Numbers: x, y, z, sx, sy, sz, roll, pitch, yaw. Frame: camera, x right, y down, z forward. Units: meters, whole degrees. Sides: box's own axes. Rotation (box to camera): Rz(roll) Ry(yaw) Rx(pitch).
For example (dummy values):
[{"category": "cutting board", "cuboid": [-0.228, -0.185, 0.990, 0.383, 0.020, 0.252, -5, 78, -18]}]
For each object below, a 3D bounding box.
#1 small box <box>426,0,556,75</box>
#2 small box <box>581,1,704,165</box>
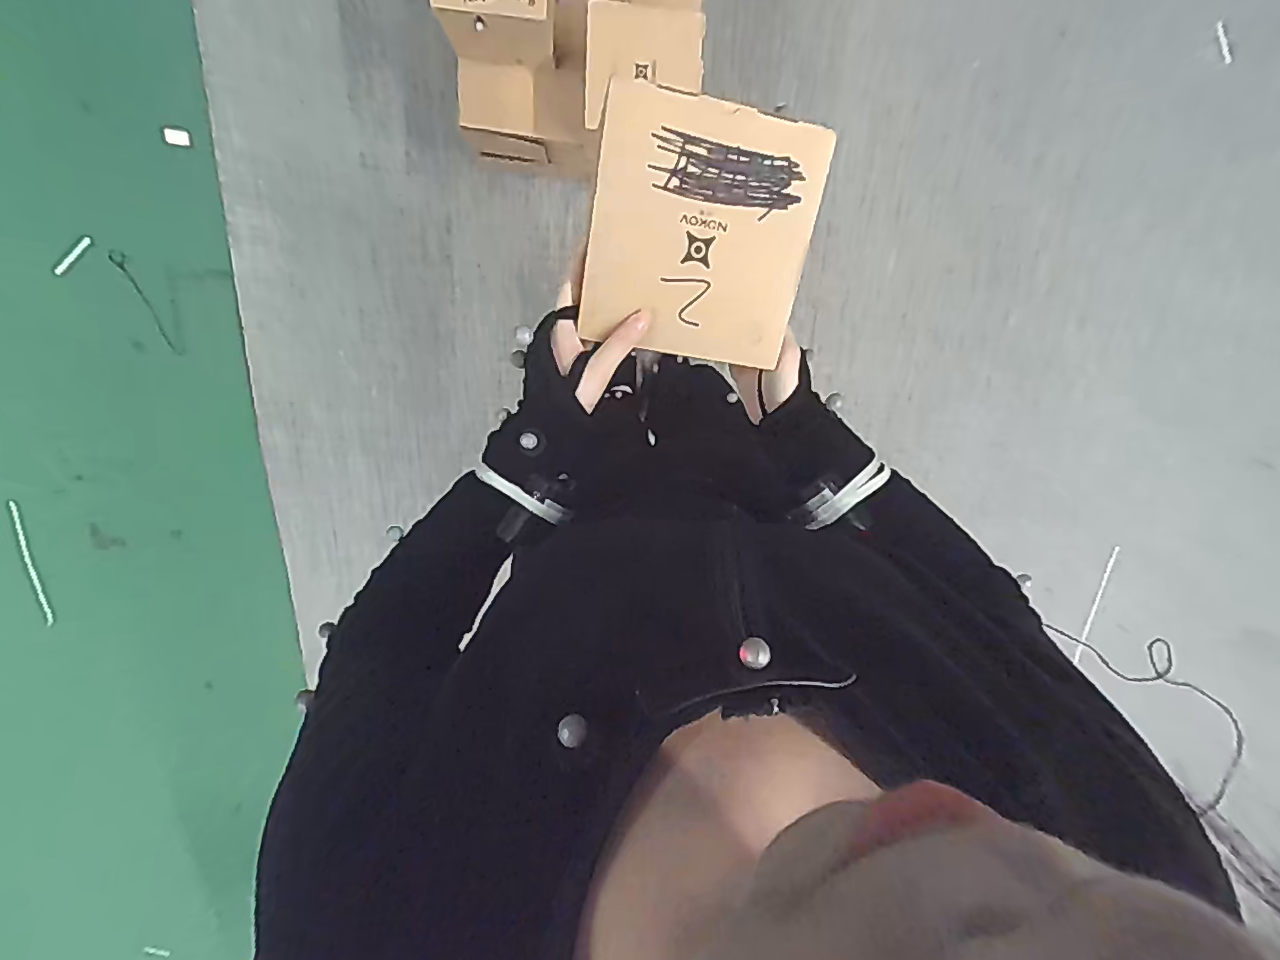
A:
[{"category": "small box", "cuboid": [-0.218, -0.760, 0.819, 0.168, 0.176, 0.179, 3, 106, -5]}, {"category": "small box", "cuboid": [-0.005, -0.628, 0.880, 0.179, 0.176, 0.168, 2, 107, -6]}]
